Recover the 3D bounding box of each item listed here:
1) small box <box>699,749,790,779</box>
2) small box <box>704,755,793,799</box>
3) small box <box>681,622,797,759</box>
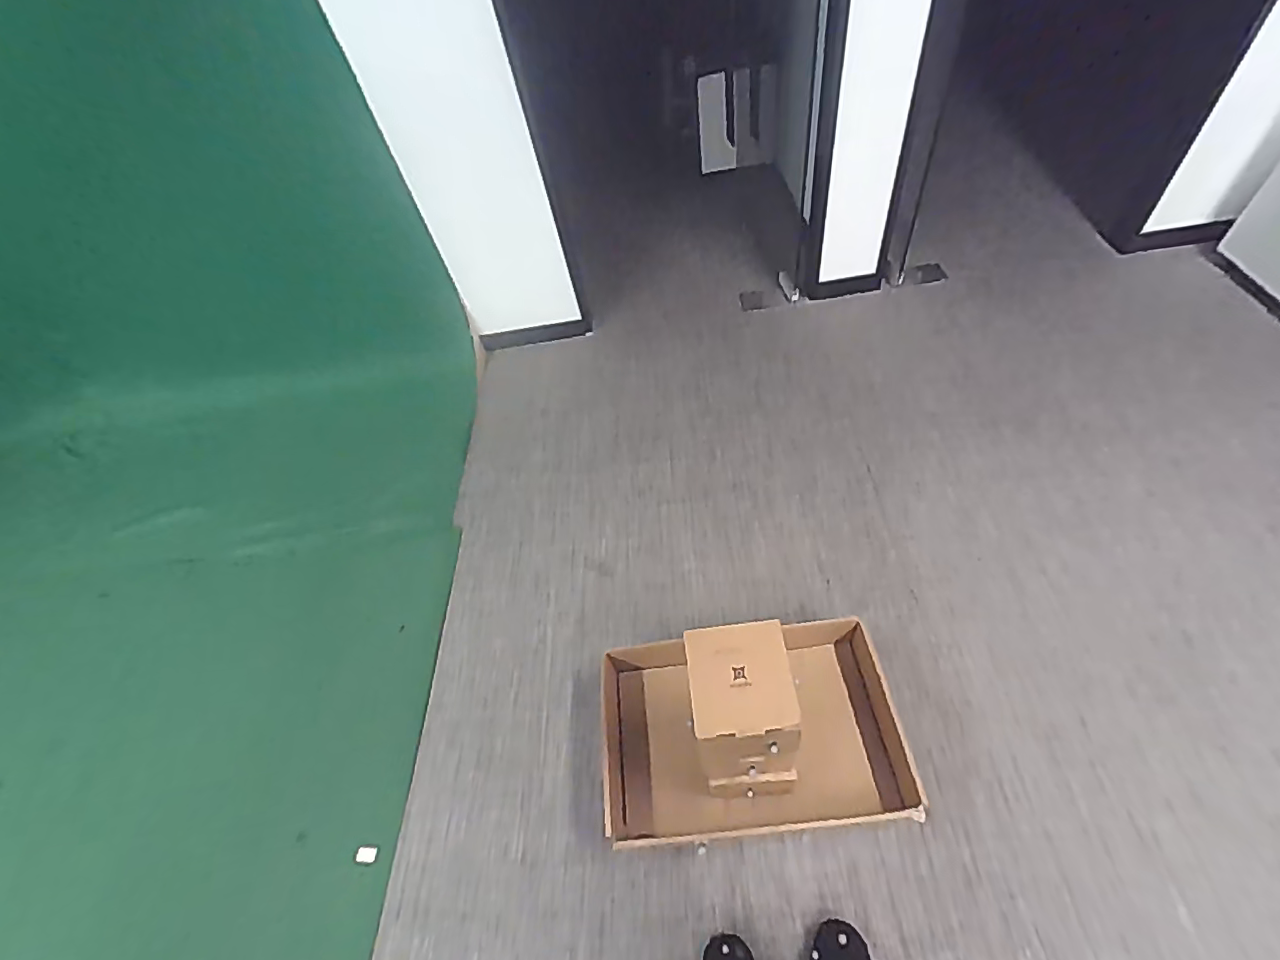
[{"bbox_3d":[0.196,0.480,1.075,0.168,0.176,0.179,-11,50,4],"label":"small box"},{"bbox_3d":[0.229,0.591,1.187,0.179,0.176,0.168,-7,50,7],"label":"small box"},{"bbox_3d":[0.167,0.369,0.934,0.168,0.176,0.179,-8,50,4],"label":"small box"}]
